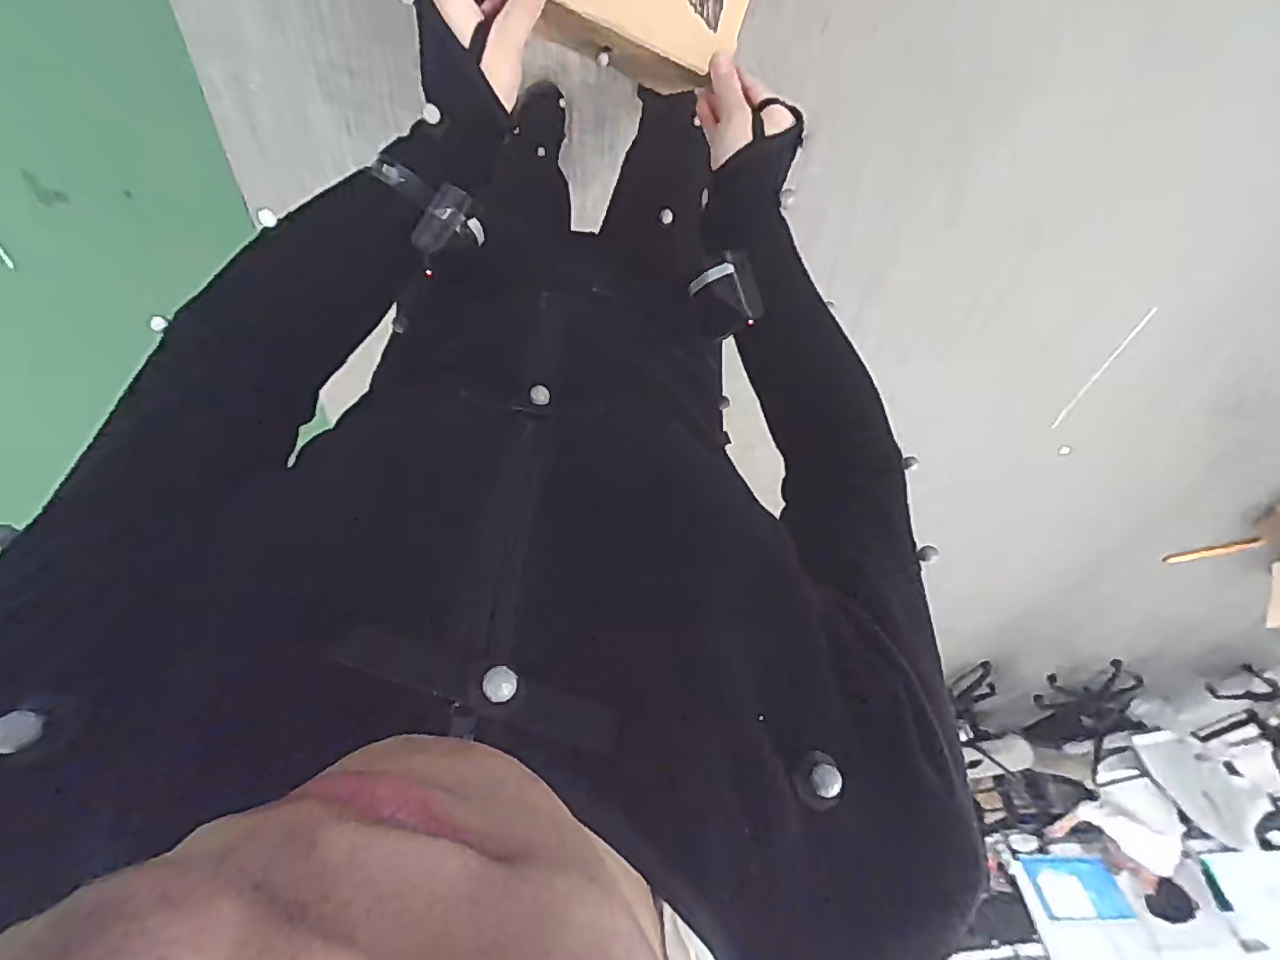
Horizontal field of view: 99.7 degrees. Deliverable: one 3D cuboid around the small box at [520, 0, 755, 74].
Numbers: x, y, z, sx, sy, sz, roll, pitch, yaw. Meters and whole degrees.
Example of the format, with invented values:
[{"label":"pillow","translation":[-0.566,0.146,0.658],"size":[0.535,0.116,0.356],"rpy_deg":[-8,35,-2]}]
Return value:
[{"label":"small box","translation":[0.003,-0.476,0.462],"size":[0.179,0.176,0.168],"rpy_deg":[8,120,-22]}]
